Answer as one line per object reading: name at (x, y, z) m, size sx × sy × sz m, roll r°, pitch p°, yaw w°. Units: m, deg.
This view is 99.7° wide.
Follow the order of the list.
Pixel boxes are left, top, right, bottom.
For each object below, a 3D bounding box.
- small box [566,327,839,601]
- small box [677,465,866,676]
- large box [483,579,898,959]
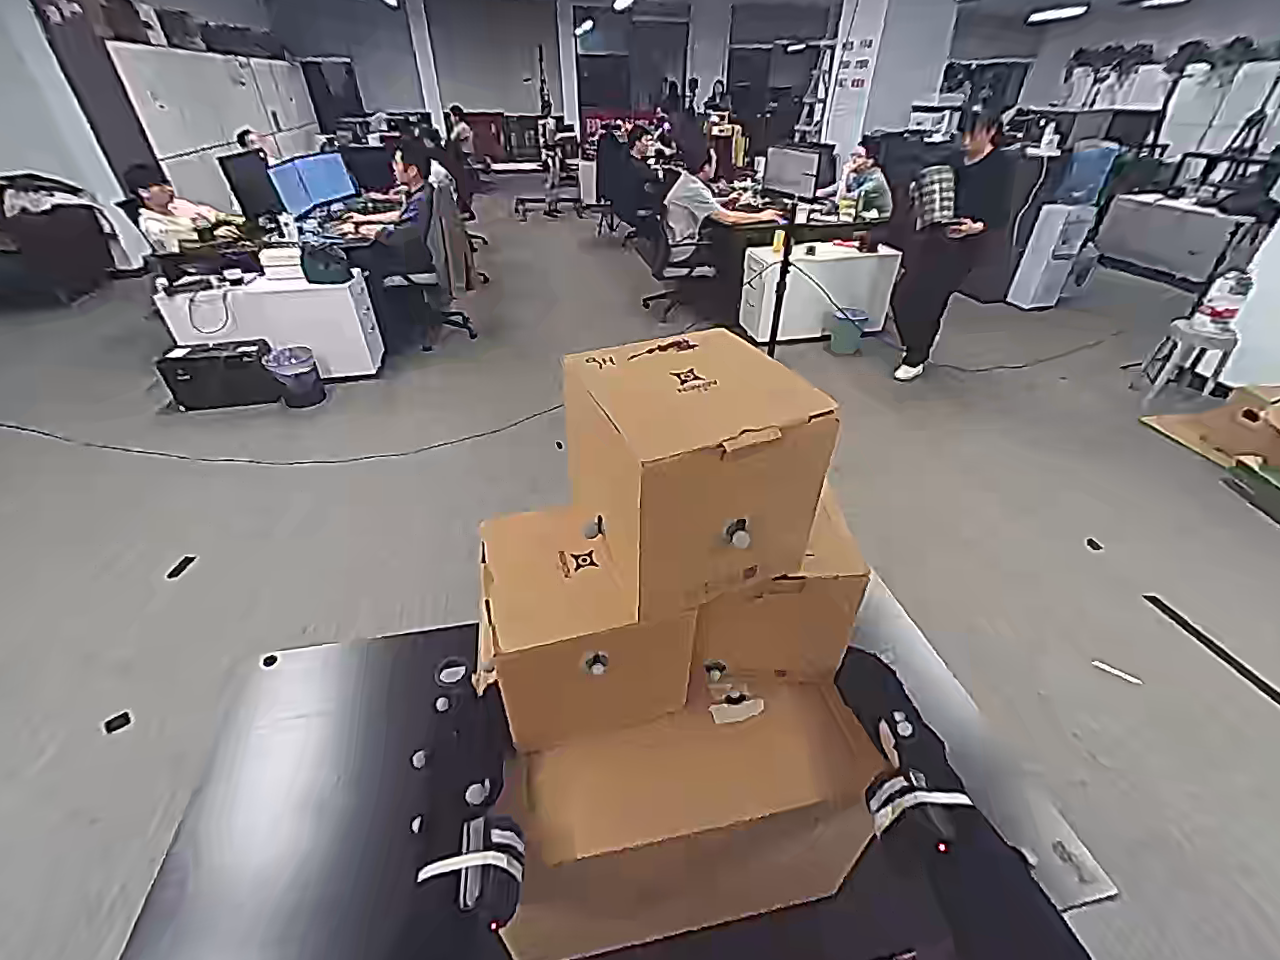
small box at (0.042, -0.015, 0.485) m, size 0.168 × 0.176 × 0.179 m, roll -14°, pitch 40°, yaw -19°
small box at (0.128, 0.100, 0.604) m, size 0.168 × 0.176 × 0.179 m, roll 0°, pitch 36°, yaw 0°
large box at (0.025, 0.338, 0.691) m, size 0.408 × 0.320 × 0.320 m, roll -6°, pitch 38°, yaw -10°
